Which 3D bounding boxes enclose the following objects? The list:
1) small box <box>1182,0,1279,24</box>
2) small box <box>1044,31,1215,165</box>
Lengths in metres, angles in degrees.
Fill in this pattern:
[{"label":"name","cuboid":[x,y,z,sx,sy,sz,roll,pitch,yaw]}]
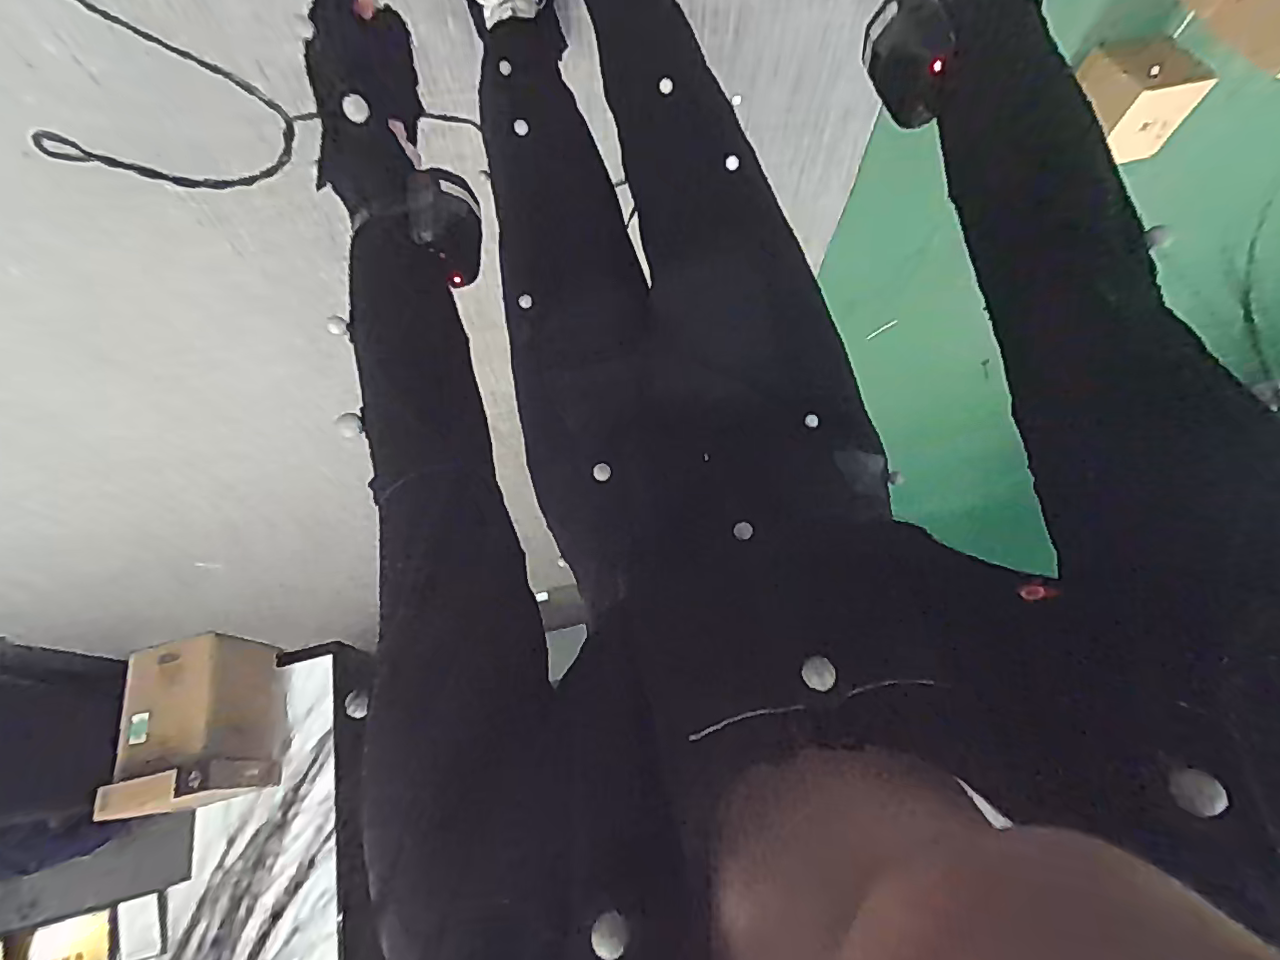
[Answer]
[{"label":"small box","cuboid":[1.053,-0.933,0.931,0.179,0.176,0.168,-7,153,-16]},{"label":"small box","cuboid":[1.031,-0.818,1.161,0.179,0.176,0.168,-14,156,-6]}]
